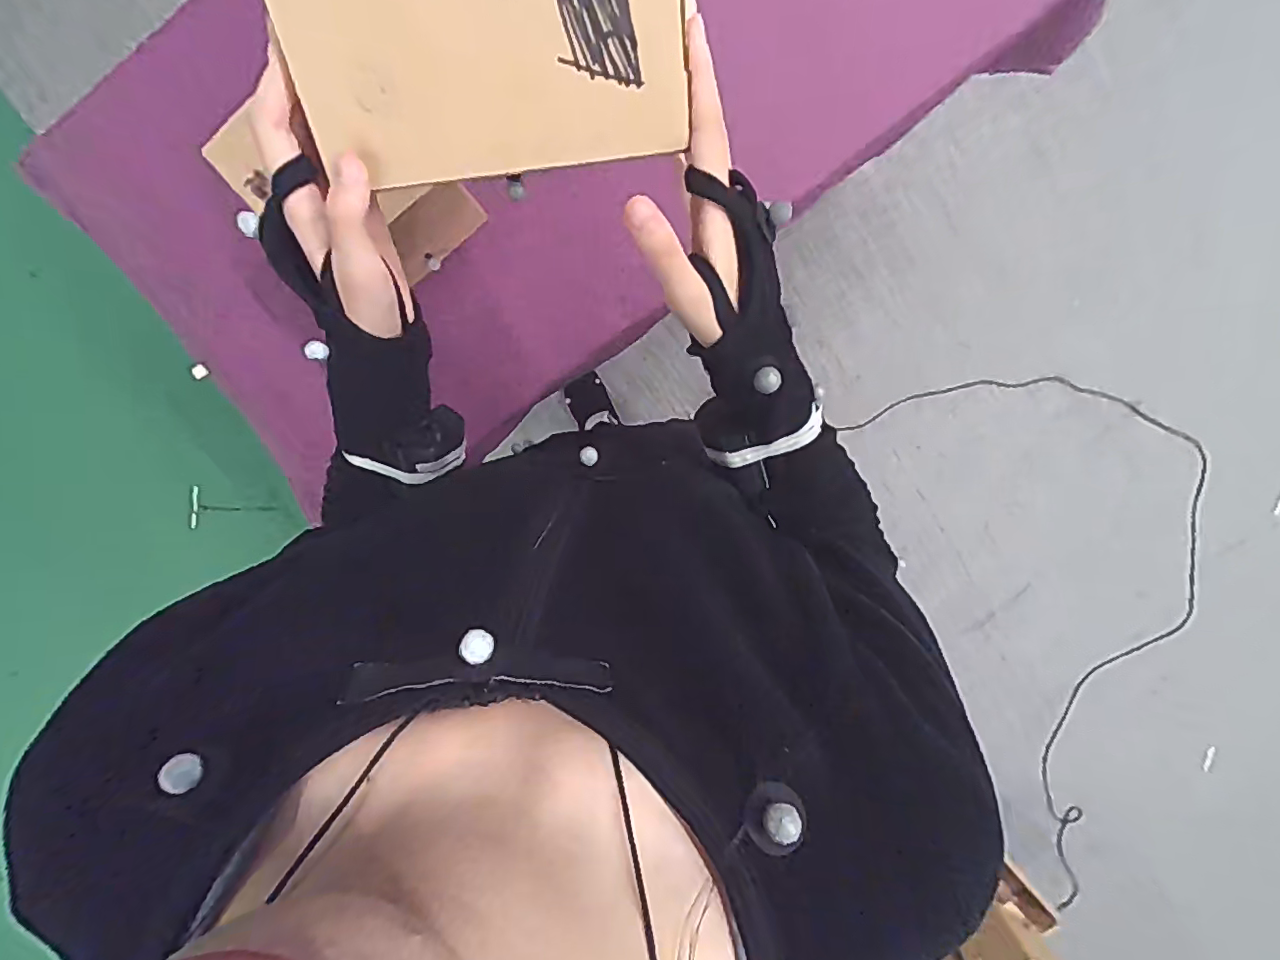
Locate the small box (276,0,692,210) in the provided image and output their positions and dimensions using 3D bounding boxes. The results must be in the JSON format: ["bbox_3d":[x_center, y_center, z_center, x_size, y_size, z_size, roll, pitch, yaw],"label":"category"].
[{"bbox_3d":[-0.075,-0.254,0.296,0.179,0.176,0.168,-8,121,-2],"label":"small box"}]

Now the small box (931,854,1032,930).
[{"bbox_3d":[1.055,1.322,1.683,0.179,0.176,0.168,-40,98,9],"label":"small box"}]

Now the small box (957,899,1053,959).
[{"bbox_3d":[1.037,1.348,1.523,0.168,0.176,0.179,32,100,-6],"label":"small box"}]

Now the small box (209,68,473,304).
[{"bbox_3d":[-0.314,-0.326,0.617,0.179,0.176,0.168,-38,100,6],"label":"small box"}]
